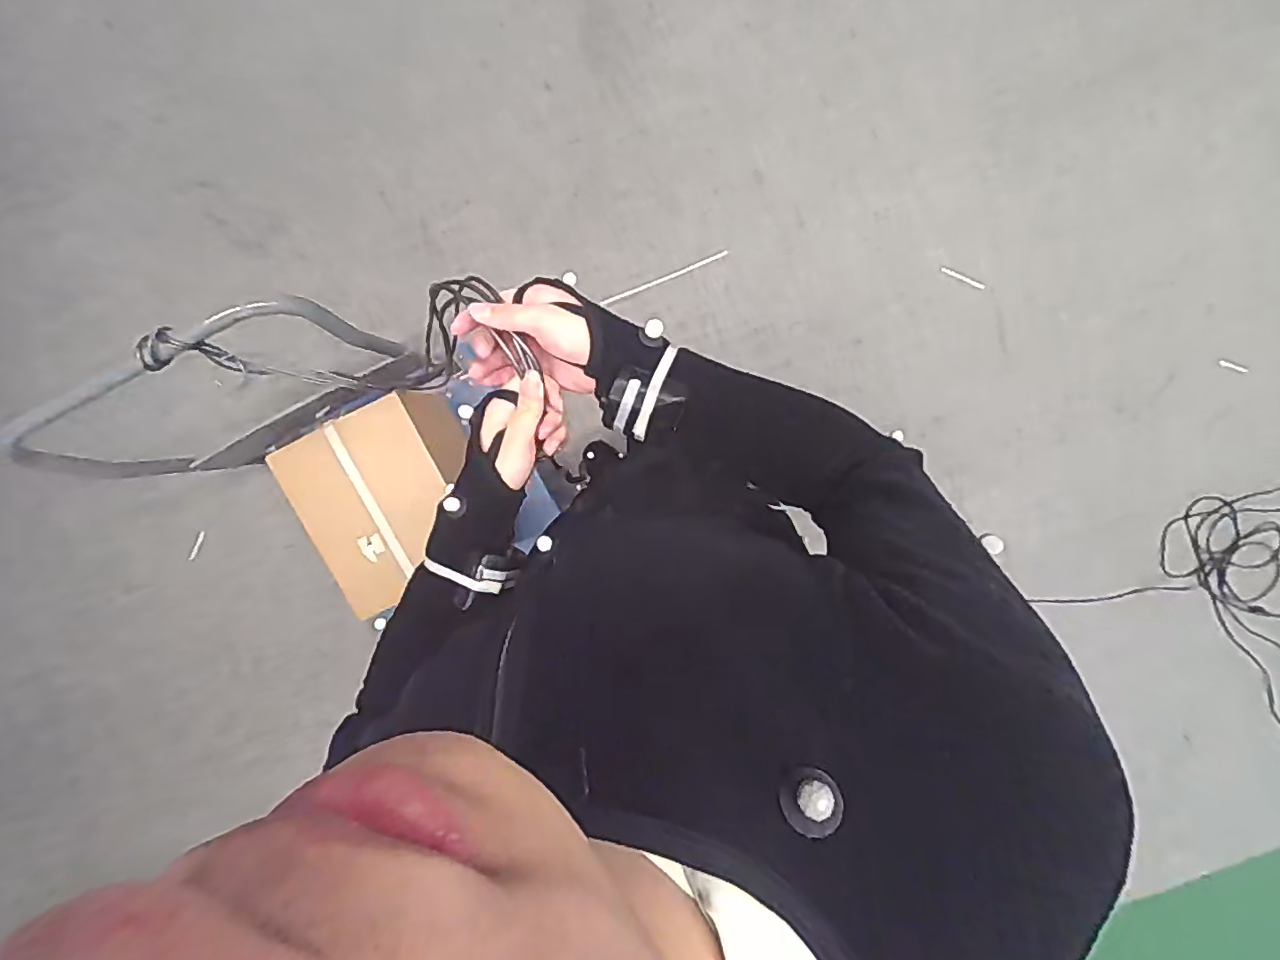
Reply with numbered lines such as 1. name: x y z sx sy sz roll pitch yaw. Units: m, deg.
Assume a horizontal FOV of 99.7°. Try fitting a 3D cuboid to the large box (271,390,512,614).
1. large box: -0.557 0.033 1.296 0.320 0.320 0.408 -26 98 2
